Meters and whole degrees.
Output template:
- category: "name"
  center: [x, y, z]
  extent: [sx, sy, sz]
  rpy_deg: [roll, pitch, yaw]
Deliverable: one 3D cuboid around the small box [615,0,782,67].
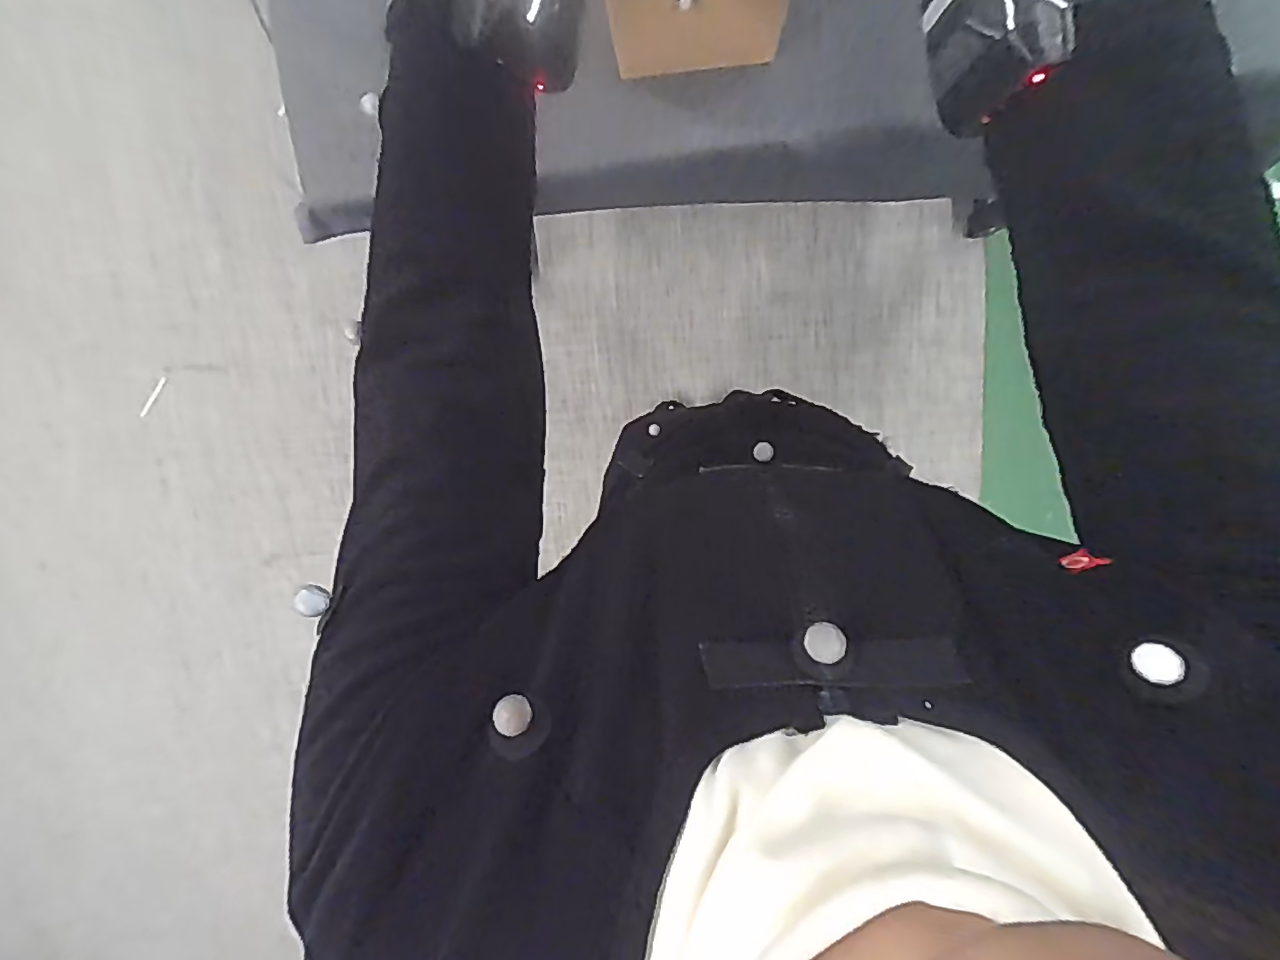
- category: "small box"
  center: [0.057, -0.553, 0.541]
  extent: [0.179, 0.176, 0.168]
  rpy_deg: [-3, 100, 5]
